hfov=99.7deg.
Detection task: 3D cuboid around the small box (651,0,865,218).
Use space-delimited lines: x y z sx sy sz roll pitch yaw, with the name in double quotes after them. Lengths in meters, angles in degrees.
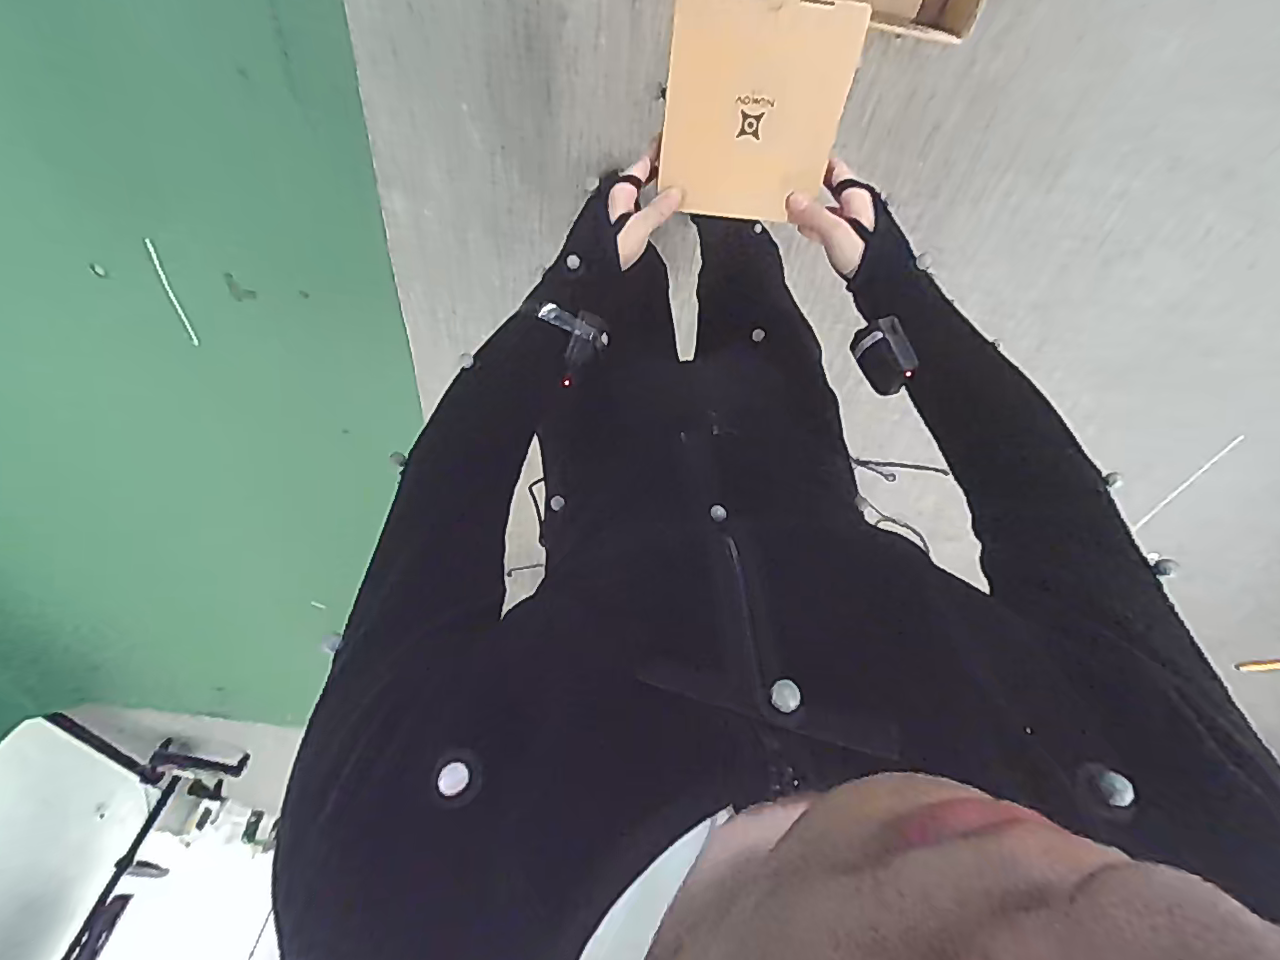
0.105 -0.397 0.558 0.168 0.176 0.179 6 133 -1 "small box"
